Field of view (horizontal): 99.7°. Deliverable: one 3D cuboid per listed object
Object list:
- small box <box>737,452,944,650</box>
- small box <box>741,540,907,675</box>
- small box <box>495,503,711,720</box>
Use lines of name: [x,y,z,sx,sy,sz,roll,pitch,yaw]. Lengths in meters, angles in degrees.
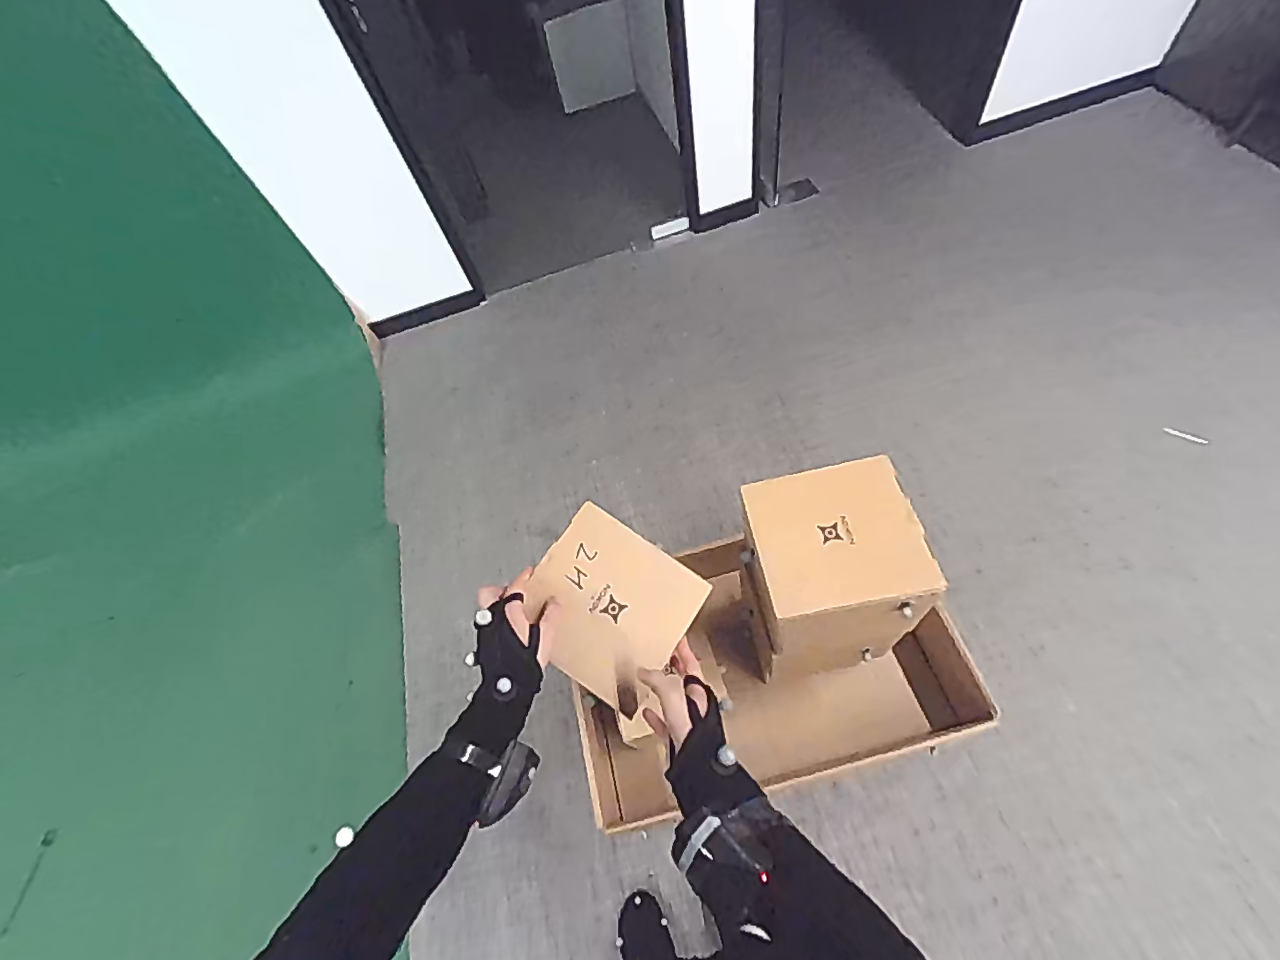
small box: [0.225,0.095,0.651,0.179,0.176,0.168,-13,58,6]
small box: [0.253,0.175,0.789,0.179,0.176,0.168,-15,59,5]
small box: [-0.042,0.156,0.652,0.179,0.176,0.168,33,73,7]
